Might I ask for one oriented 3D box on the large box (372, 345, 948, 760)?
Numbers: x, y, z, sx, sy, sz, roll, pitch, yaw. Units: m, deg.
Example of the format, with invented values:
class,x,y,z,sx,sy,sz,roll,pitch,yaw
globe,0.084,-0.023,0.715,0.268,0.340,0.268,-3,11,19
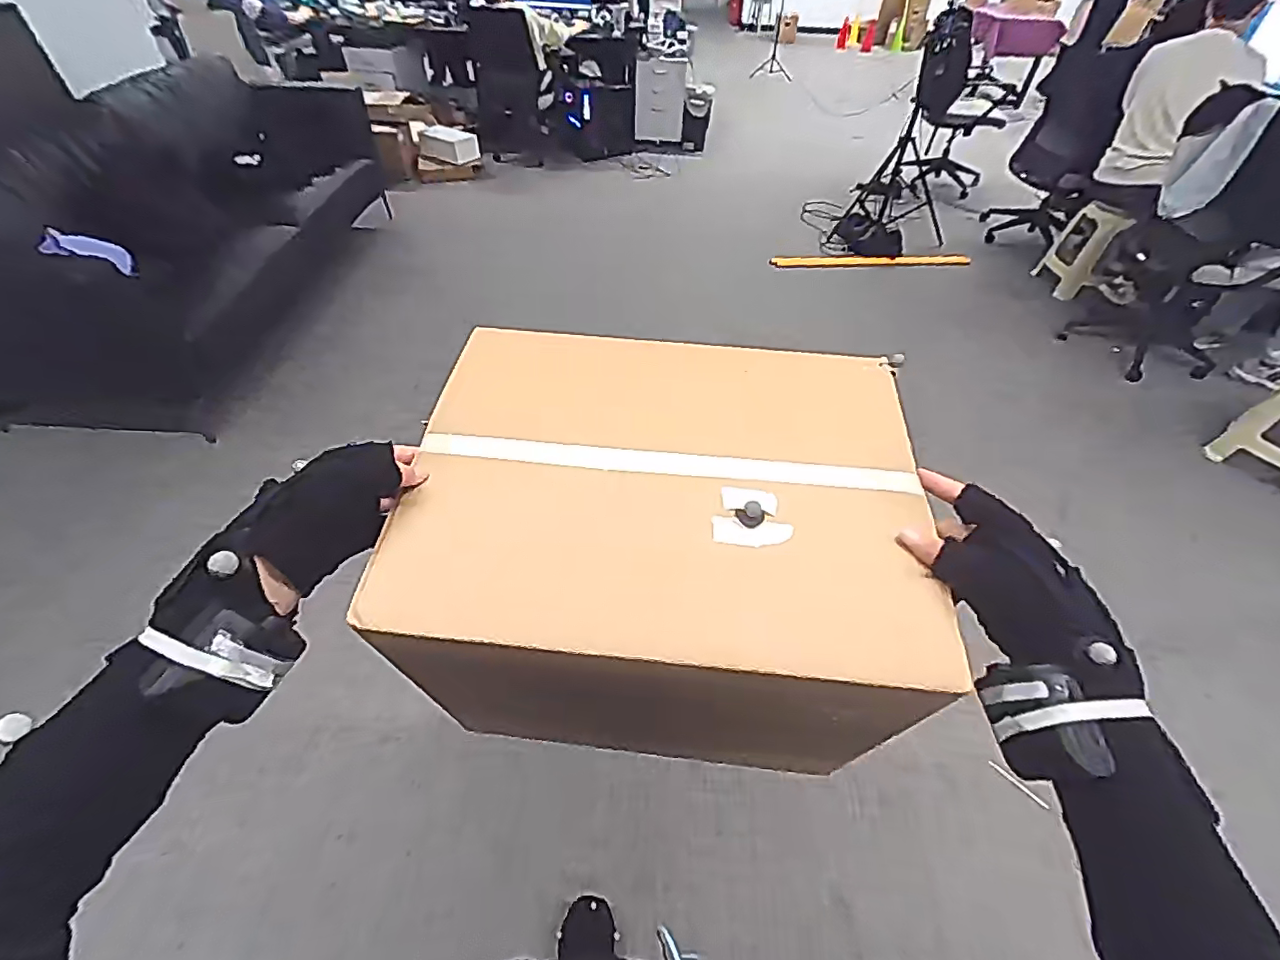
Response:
class,x,y,z,sx,sy,sz,roll,pitch,yaw
large box,0.019,0.084,0.573,0.408,0.320,0.320,5,54,3
